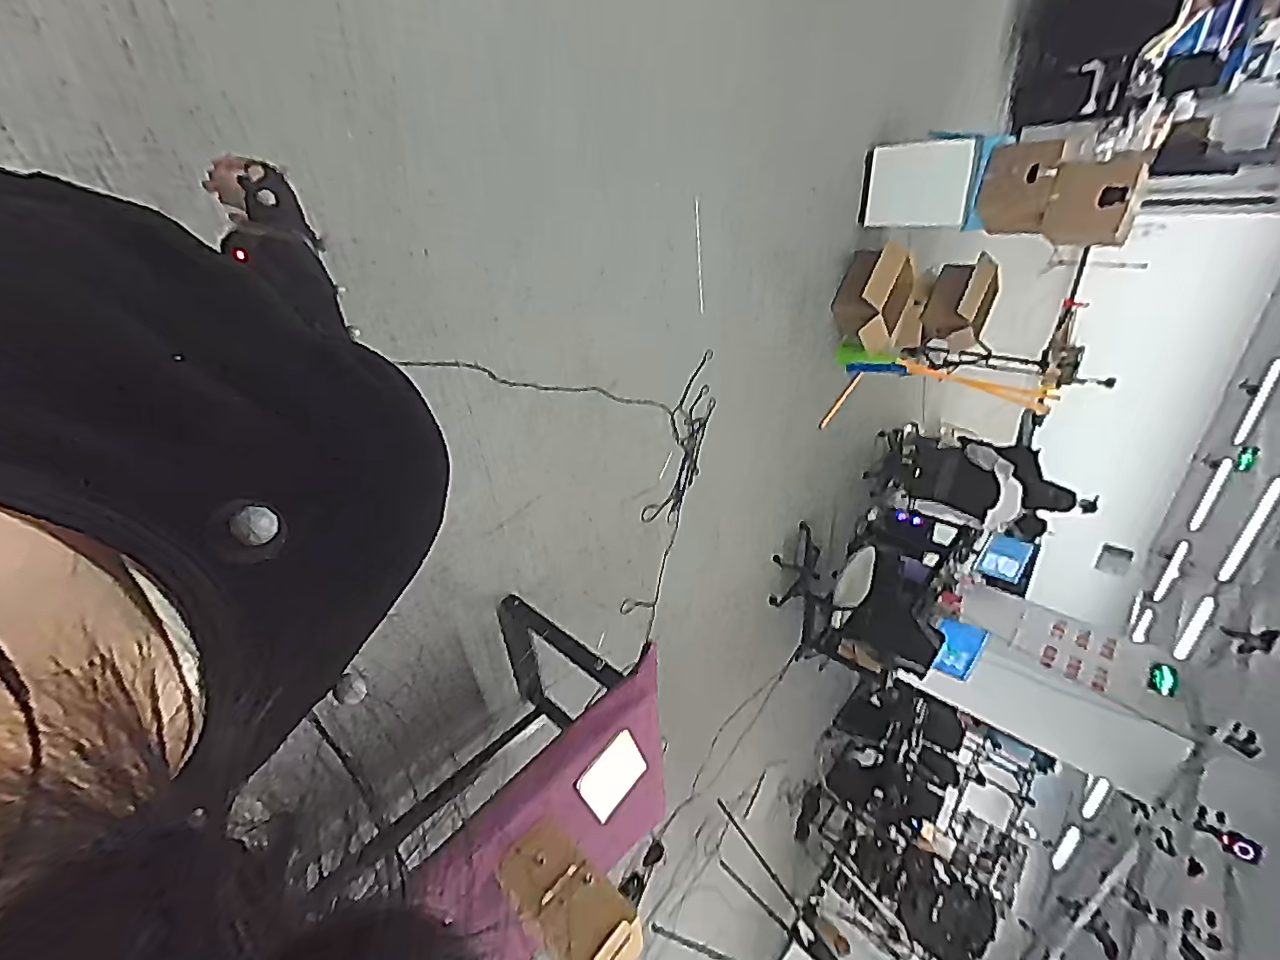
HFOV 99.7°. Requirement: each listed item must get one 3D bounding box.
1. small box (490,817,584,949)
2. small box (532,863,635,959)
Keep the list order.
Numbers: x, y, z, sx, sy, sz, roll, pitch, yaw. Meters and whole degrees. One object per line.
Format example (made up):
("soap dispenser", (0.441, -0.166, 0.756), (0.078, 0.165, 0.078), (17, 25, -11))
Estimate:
("small box", (-0.248, 0.980, 1.336), (0.168, 0.176, 0.179), (-29, 127, -37))
("small box", (-0.129, 1.024, 1.230), (0.168, 0.176, 0.179), (-29, 129, -38))
